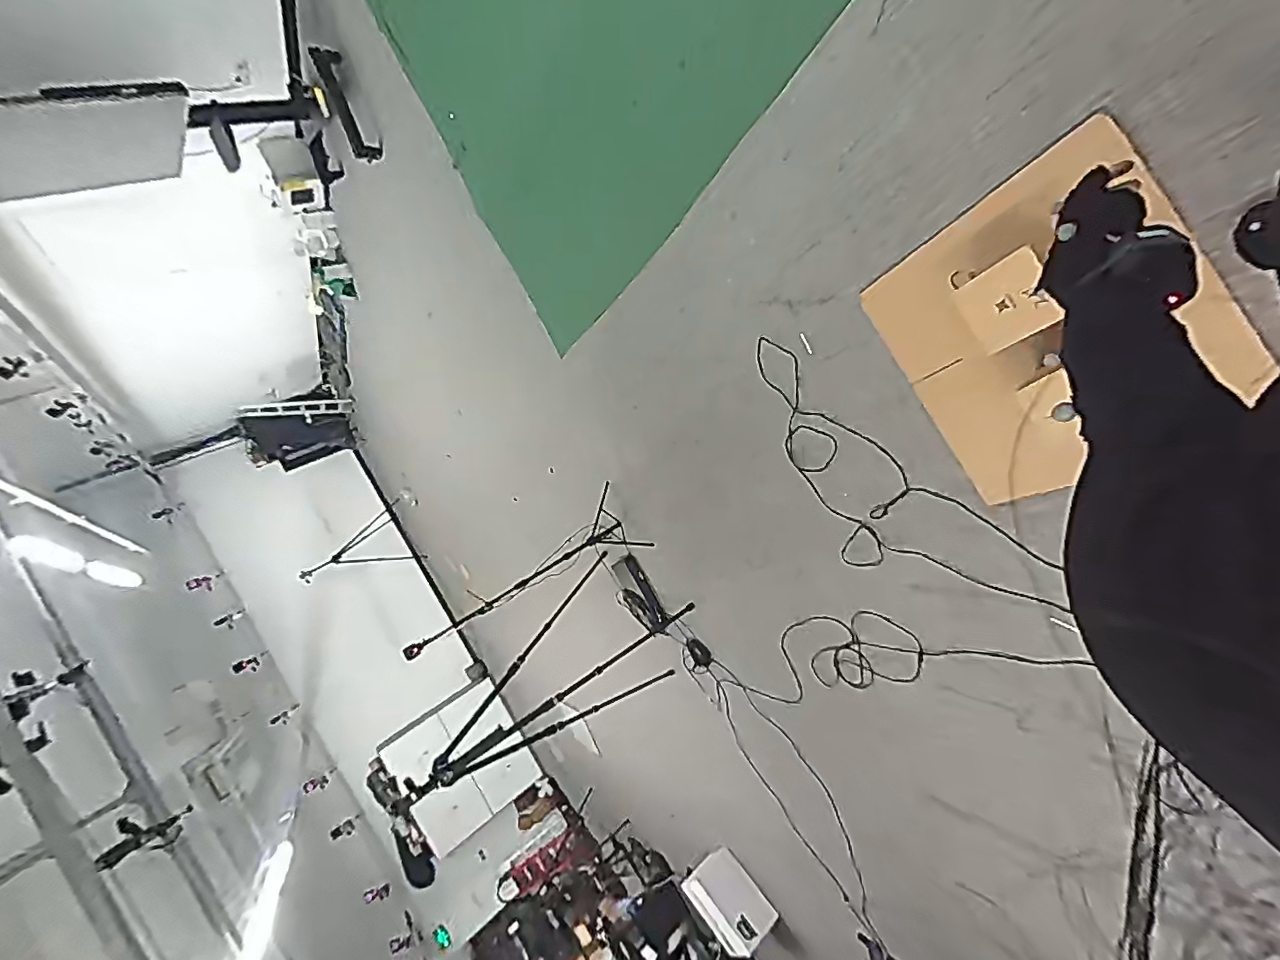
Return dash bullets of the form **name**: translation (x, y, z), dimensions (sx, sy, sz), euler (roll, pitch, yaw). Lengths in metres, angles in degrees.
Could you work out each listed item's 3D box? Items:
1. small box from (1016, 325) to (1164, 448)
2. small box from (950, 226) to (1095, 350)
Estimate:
- **small box**: translation (0.960, -0.202, 1.150), dimensions (0.168, 0.176, 0.179), euler (56, 148, 6)
- **small box**: translation (0.826, -0.413, 1.170), dimensions (0.168, 0.176, 0.179), euler (58, 148, 1)
